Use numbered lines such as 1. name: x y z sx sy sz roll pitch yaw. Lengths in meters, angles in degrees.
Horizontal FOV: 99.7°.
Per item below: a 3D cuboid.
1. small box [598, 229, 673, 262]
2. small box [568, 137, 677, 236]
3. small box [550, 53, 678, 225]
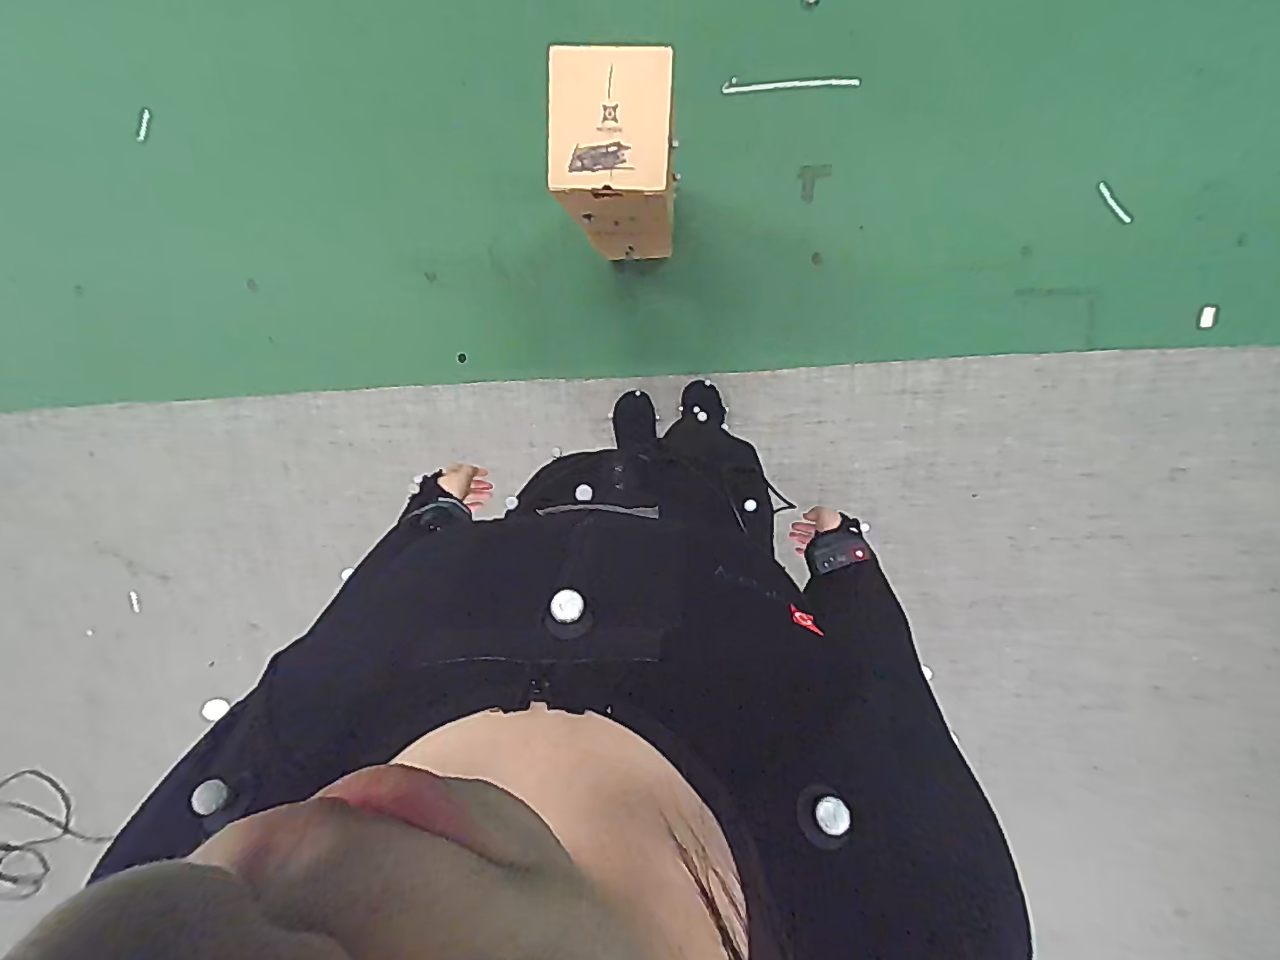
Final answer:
1. small box: -0.008 -0.619 1.276 0.168 0.176 0.179 -1 103 4
2. small box: -0.026 -0.538 0.958 0.179 0.176 0.168 2 104 3
3. small box: -0.032 -0.489 0.801 0.168 0.176 0.179 4 103 3
